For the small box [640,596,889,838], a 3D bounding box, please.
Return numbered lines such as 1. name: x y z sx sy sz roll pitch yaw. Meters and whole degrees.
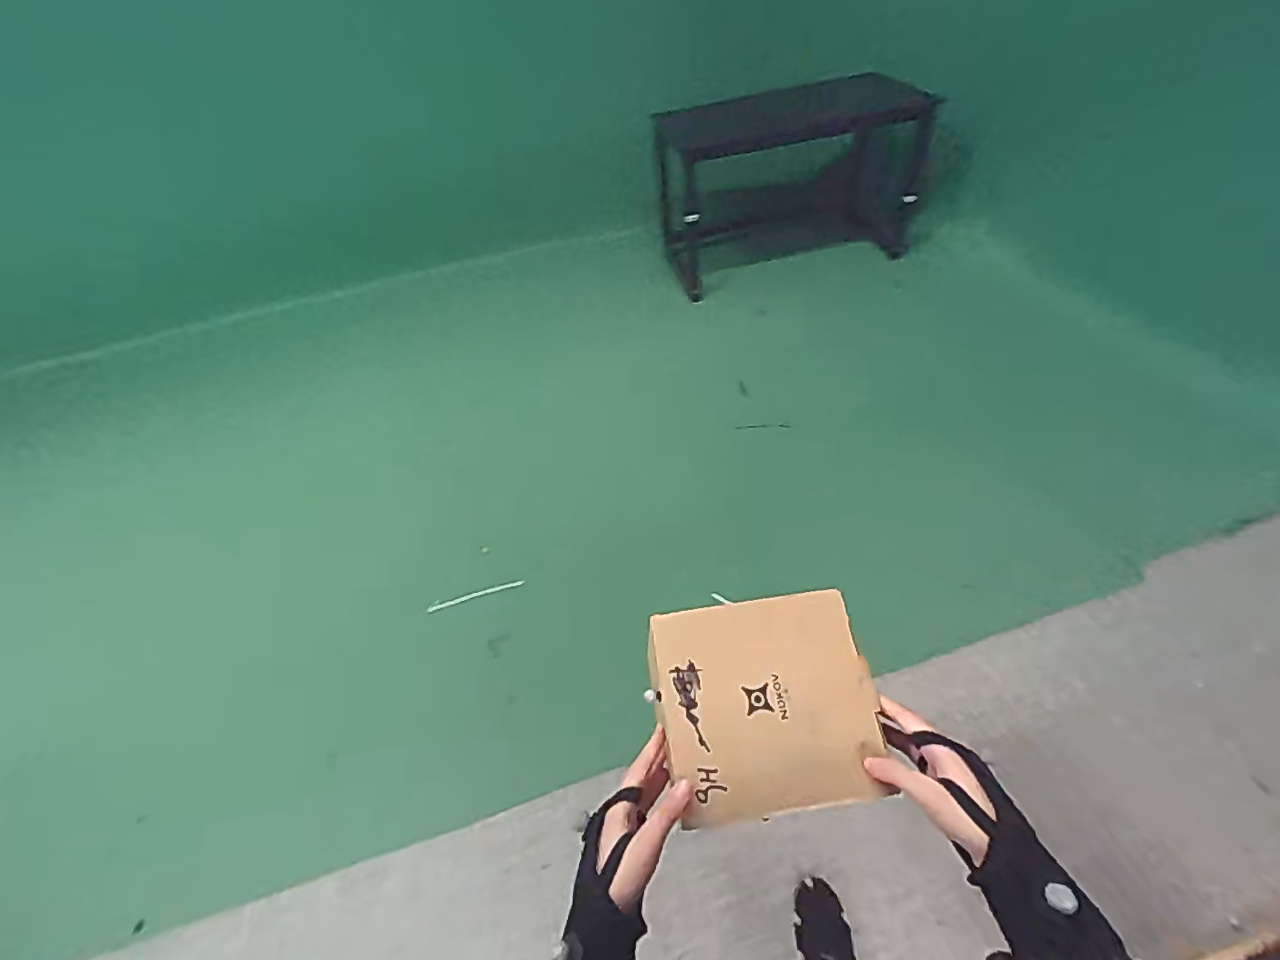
1. small box: 0.097 0.222 0.517 0.179 0.176 0.168 -8 62 -4
